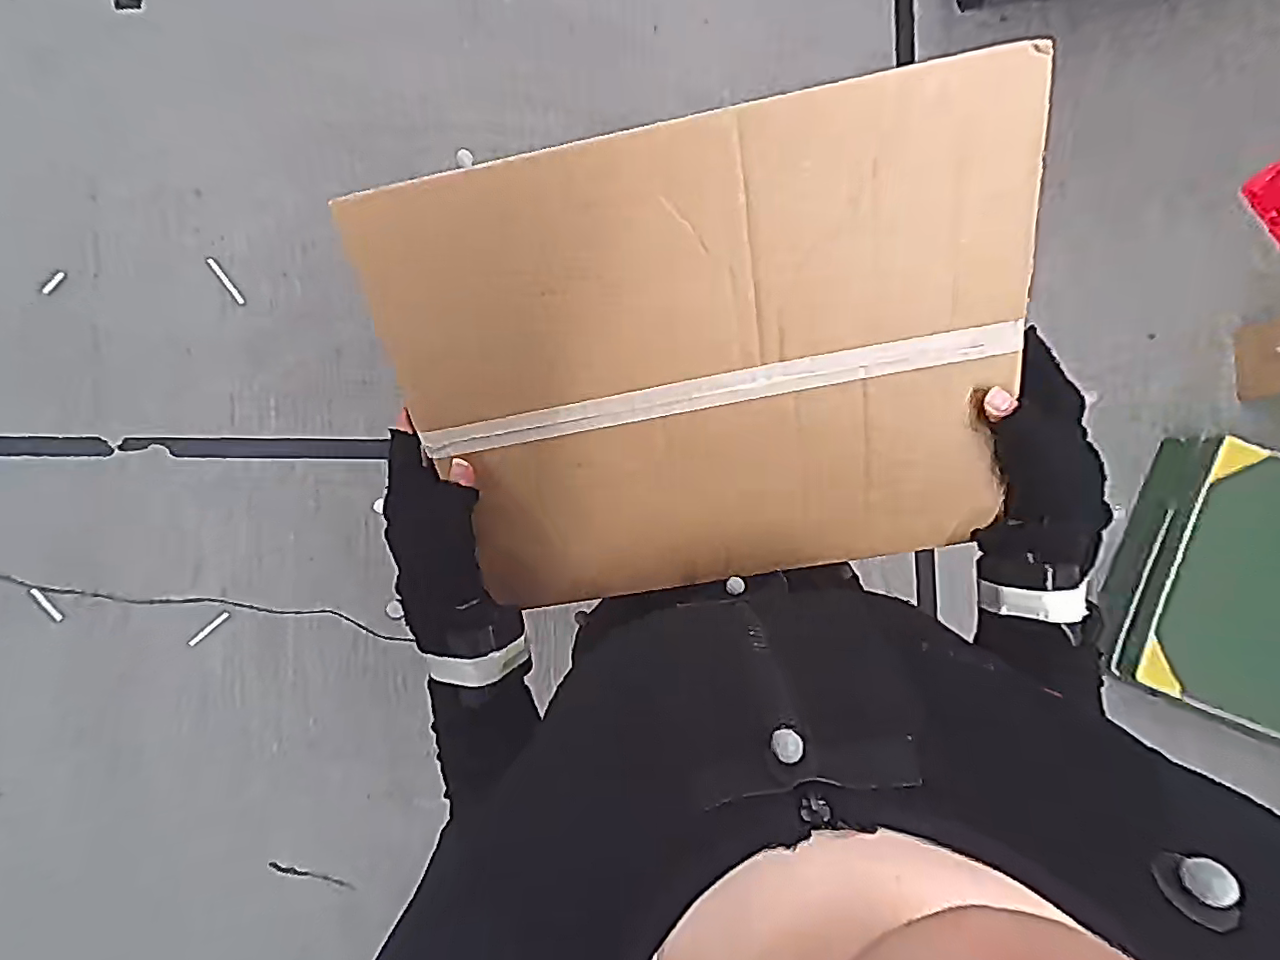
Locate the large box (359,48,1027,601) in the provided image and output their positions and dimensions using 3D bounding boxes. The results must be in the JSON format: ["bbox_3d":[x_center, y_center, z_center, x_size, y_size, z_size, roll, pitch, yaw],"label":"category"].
[{"bbox_3d":[0.047,-0.130,0.510,0.408,0.320,0.320,-10,116,5],"label":"large box"}]
